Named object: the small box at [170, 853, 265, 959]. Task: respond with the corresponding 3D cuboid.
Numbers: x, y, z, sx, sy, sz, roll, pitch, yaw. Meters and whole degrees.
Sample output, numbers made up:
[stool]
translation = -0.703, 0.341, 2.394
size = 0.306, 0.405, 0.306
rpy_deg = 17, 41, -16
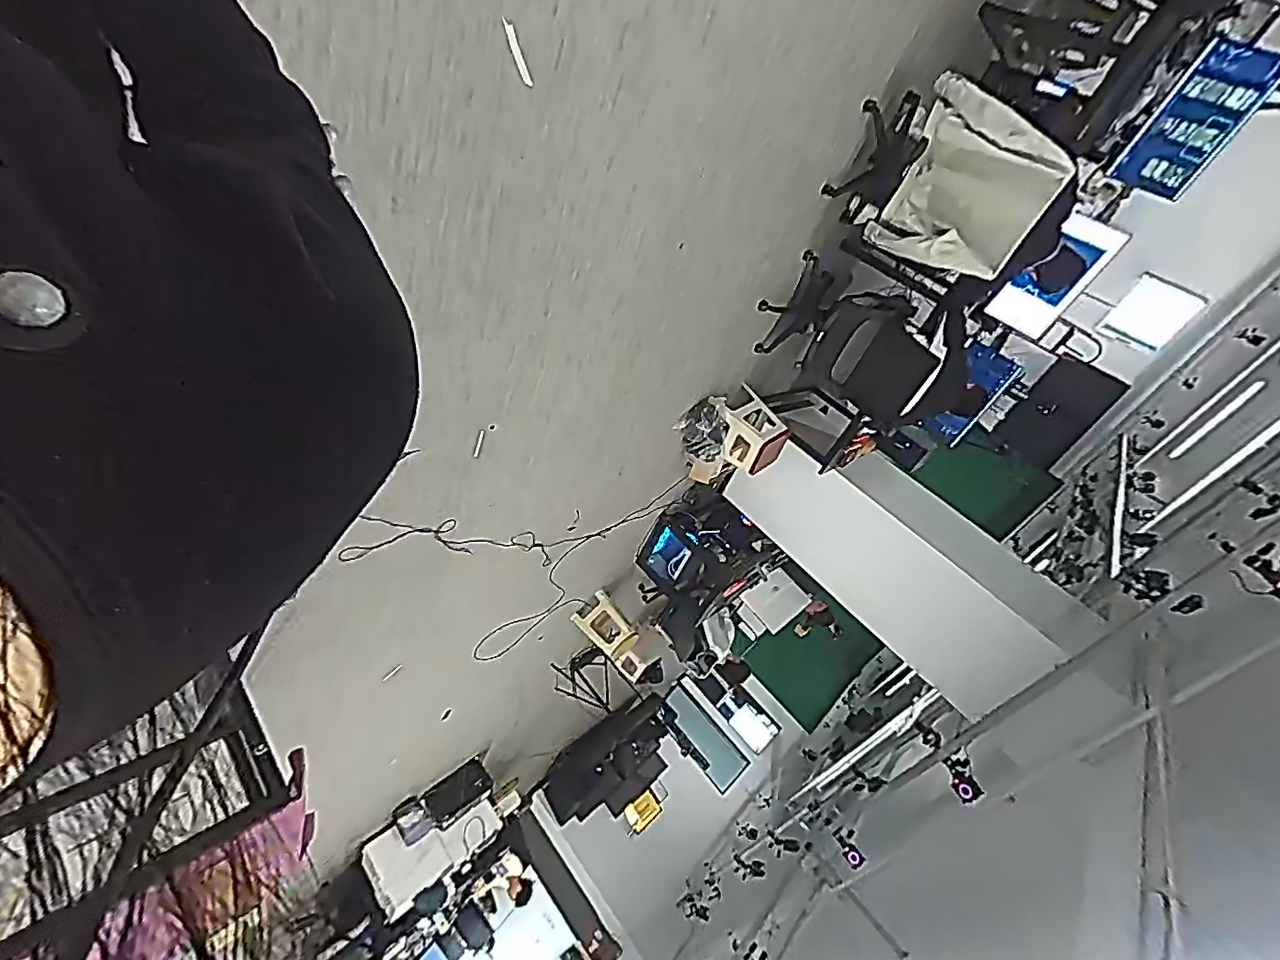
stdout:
[small box]
translation = -1.193, 1.211, 1.526
size = 0.179, 0.176, 0.168
rpy_deg = -20, 147, -44
